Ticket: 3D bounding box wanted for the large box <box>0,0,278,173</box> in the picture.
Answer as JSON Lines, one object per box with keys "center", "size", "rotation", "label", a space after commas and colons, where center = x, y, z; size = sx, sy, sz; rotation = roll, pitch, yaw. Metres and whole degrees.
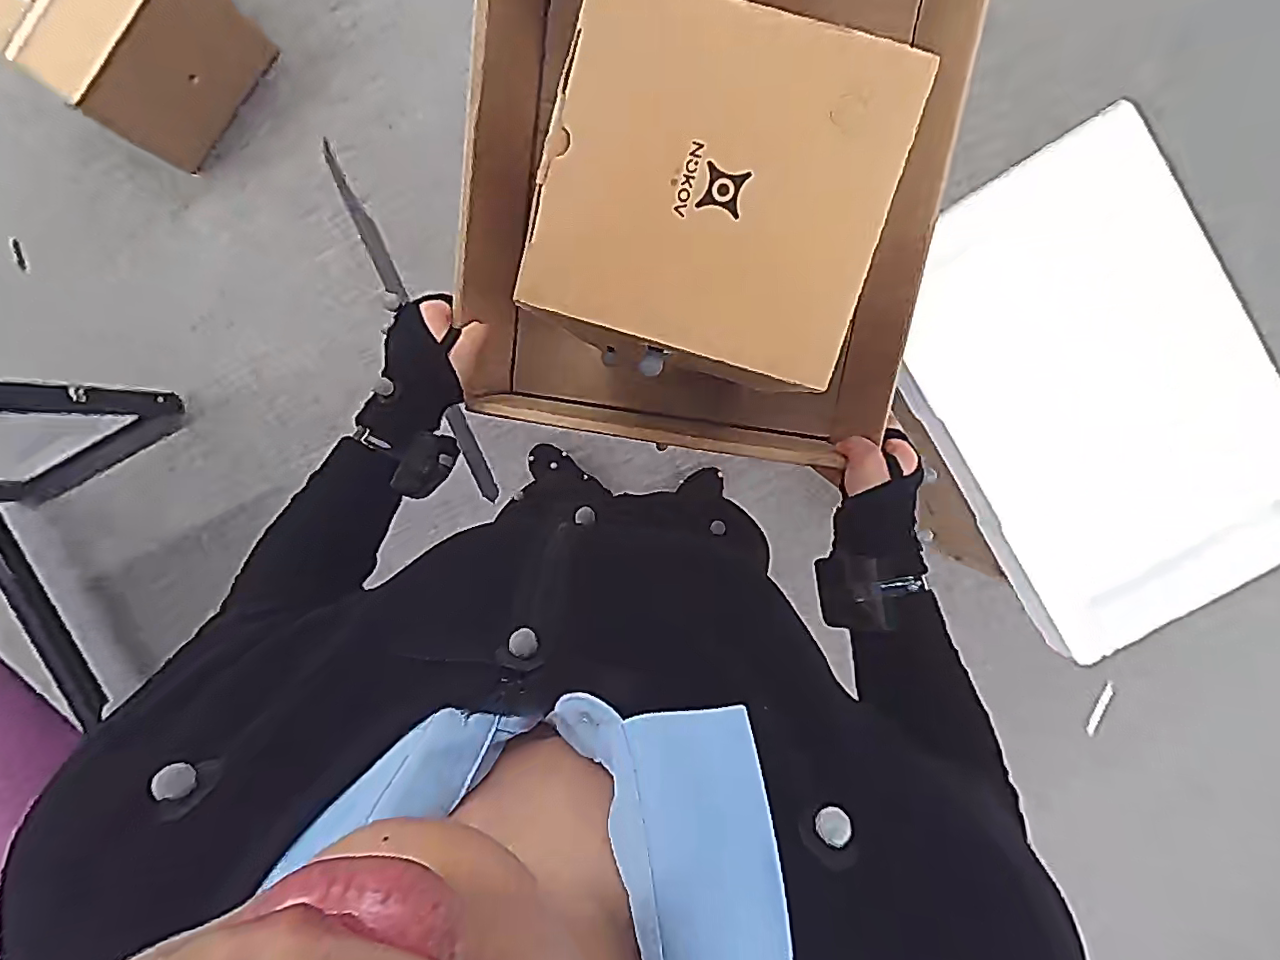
{"center": [-1.167, -1.041, 1.261], "size": [0.320, 0.320, 0.408], "rotation": [38, 95, -1], "label": "large box"}
